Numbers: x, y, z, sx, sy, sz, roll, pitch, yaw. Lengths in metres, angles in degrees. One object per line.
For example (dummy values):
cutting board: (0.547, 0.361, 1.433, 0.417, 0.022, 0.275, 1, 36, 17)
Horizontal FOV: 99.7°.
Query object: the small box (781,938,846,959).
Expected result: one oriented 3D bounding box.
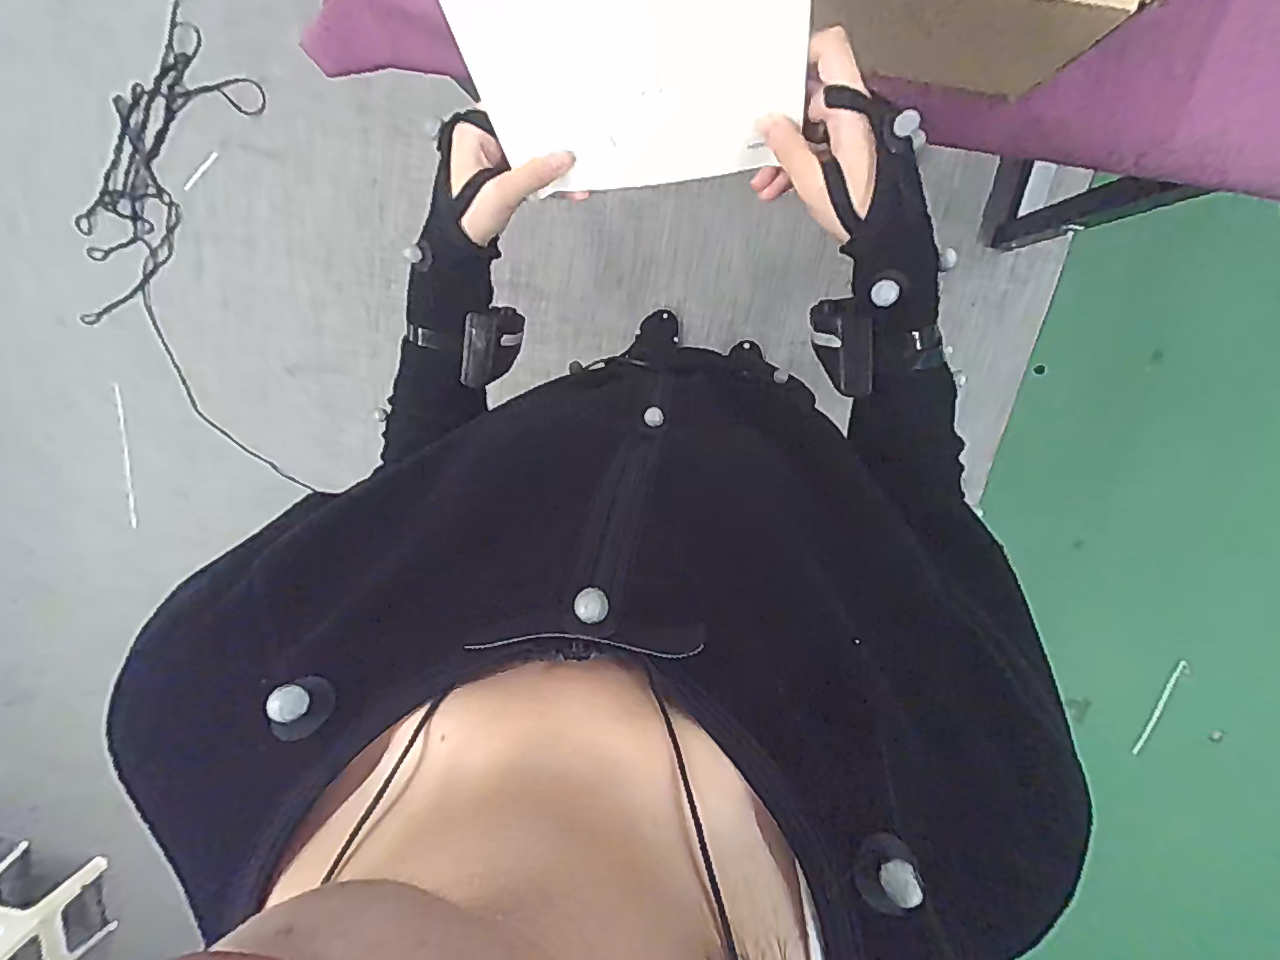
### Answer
small box: (0.458, 1.334, 1.395, 0.168, 0.176, 0.179, -2, 103, 7)
